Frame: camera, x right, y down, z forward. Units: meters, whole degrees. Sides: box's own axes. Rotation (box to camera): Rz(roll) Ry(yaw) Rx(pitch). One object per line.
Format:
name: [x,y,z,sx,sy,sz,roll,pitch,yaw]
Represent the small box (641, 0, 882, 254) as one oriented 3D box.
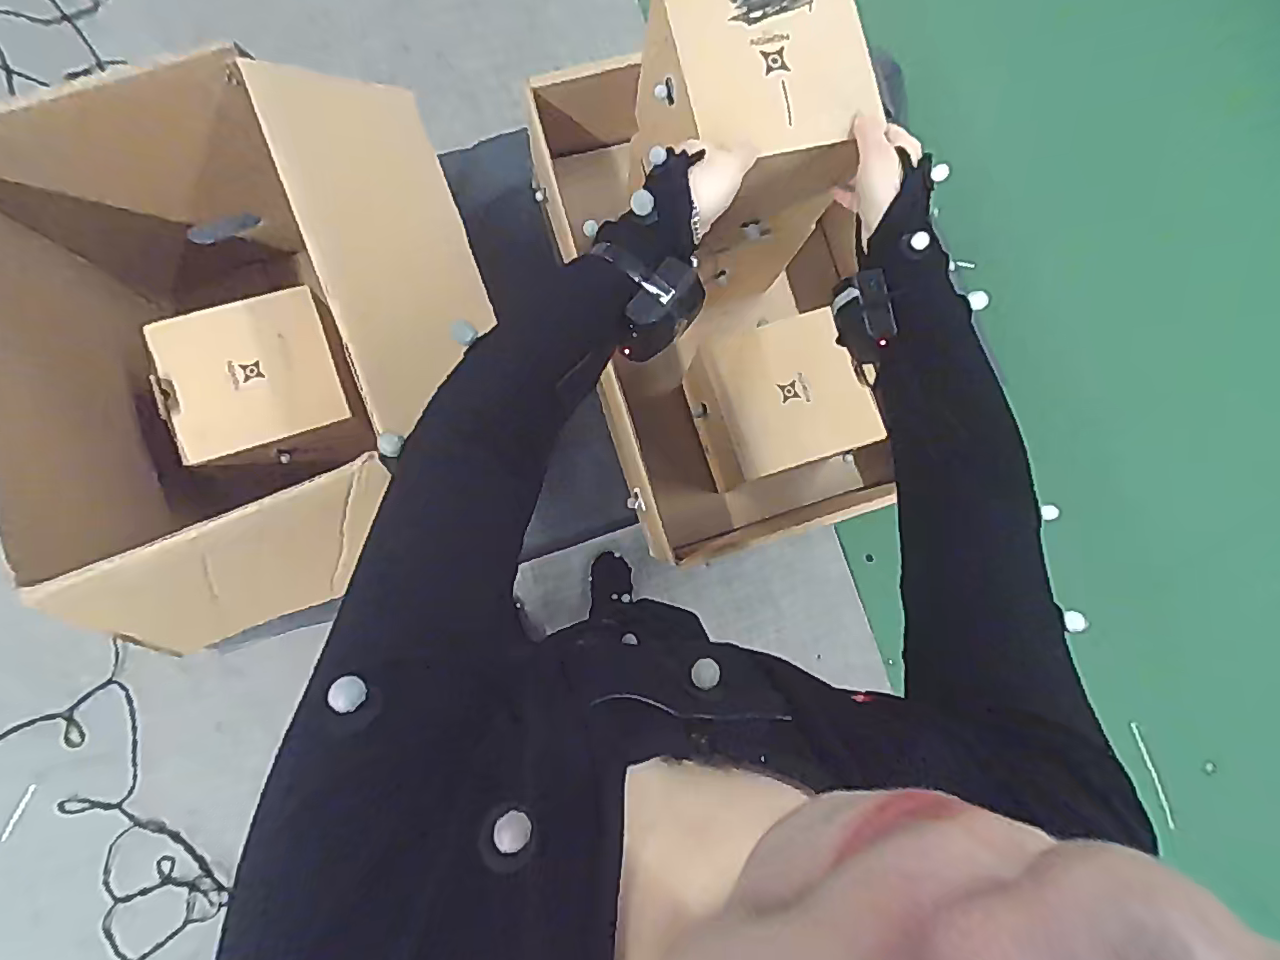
small box: [0.104,-0.356,0.540,0.168,0.176,0.179,-13,91,-7]
